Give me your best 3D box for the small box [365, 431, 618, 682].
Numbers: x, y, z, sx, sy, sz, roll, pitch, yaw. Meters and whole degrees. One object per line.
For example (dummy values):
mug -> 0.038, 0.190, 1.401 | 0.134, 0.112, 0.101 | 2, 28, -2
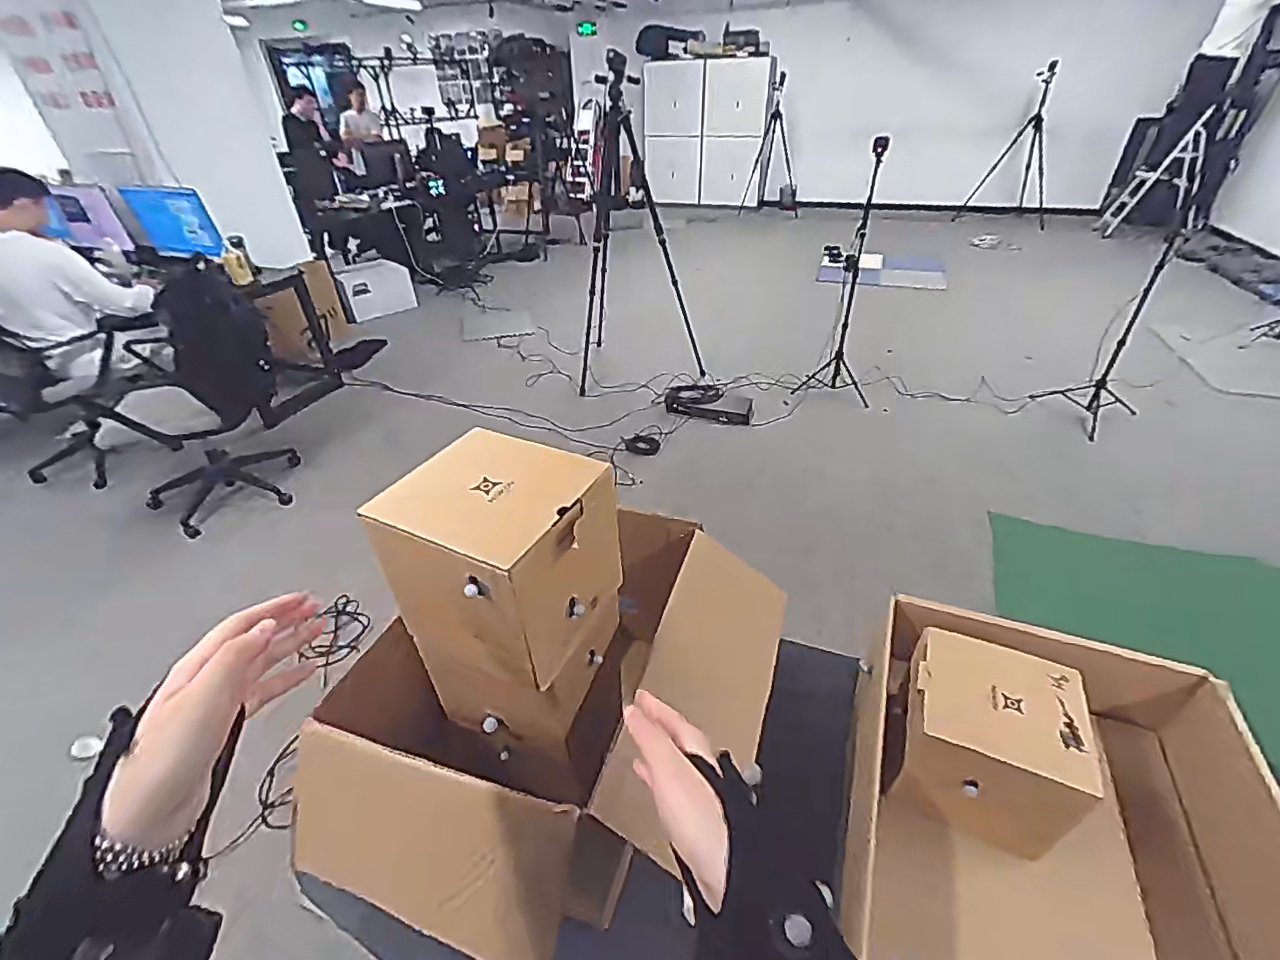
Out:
small box -> -0.136, 0.074, 0.558 | 0.179, 0.176, 0.168 | 16, 40, 21
